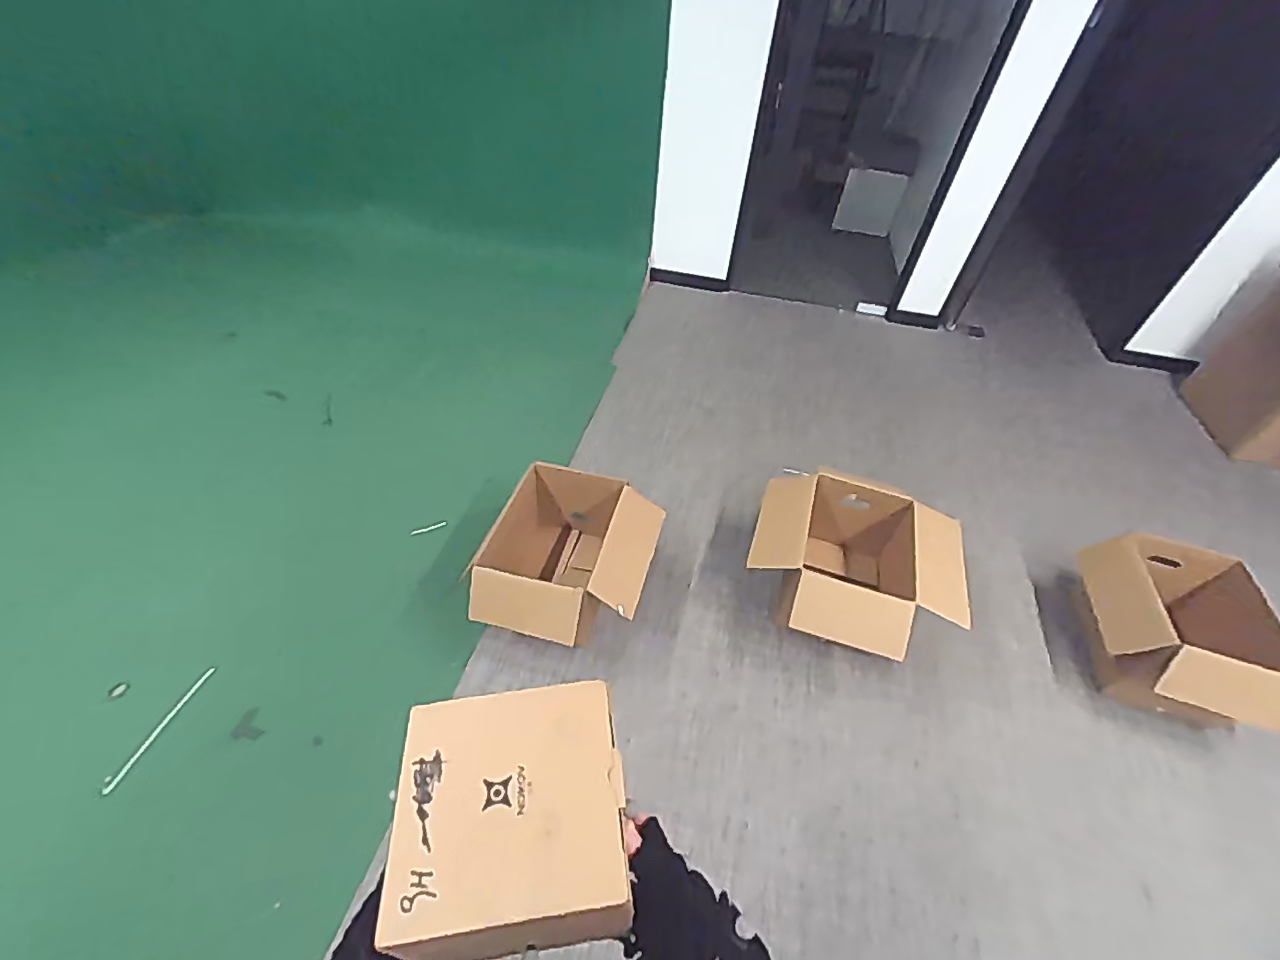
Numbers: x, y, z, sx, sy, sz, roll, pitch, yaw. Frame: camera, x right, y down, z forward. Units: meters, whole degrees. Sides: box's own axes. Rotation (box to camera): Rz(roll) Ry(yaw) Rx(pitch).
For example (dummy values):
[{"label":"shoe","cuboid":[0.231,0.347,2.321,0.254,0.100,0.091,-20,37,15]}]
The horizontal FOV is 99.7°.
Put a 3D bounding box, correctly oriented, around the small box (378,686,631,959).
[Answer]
[{"label":"small box","cuboid":[-0.105,0.308,0.487,0.179,0.176,0.168,-4,43,-6]}]
